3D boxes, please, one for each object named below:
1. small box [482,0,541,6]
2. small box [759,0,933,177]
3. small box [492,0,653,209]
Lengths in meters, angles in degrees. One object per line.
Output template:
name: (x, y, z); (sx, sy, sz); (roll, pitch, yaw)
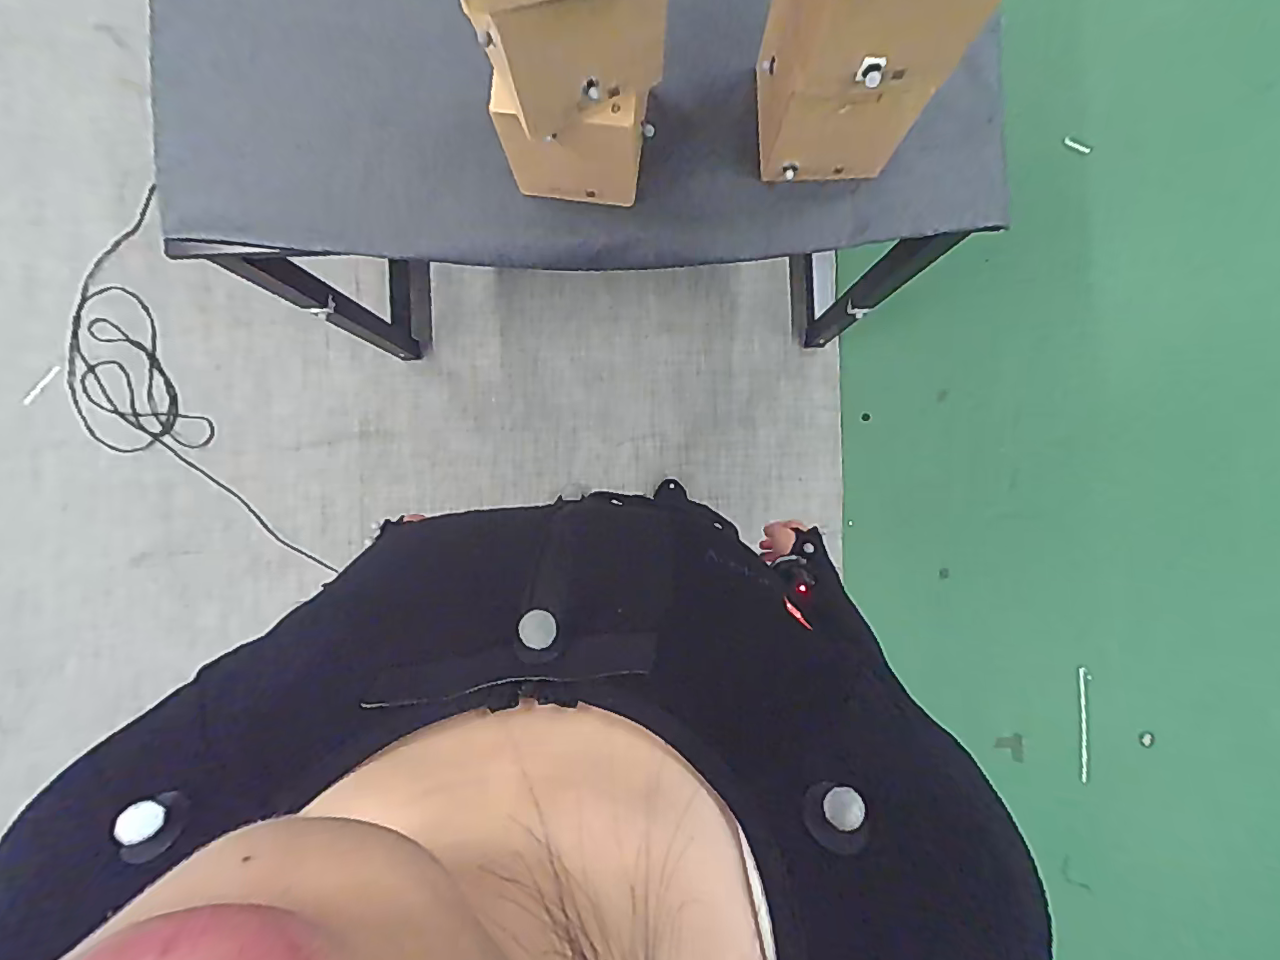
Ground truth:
small box: (-0.078, -0.472, 0.362); (0.168, 0.176, 0.179); (-14, 89, 0)
small box: (0.251, -0.513, 0.690); (0.168, 0.176, 0.179); (-2, 86, 0)
small box: (-0.077, -0.482, 0.690); (0.168, 0.176, 0.179); (7, 88, 0)
